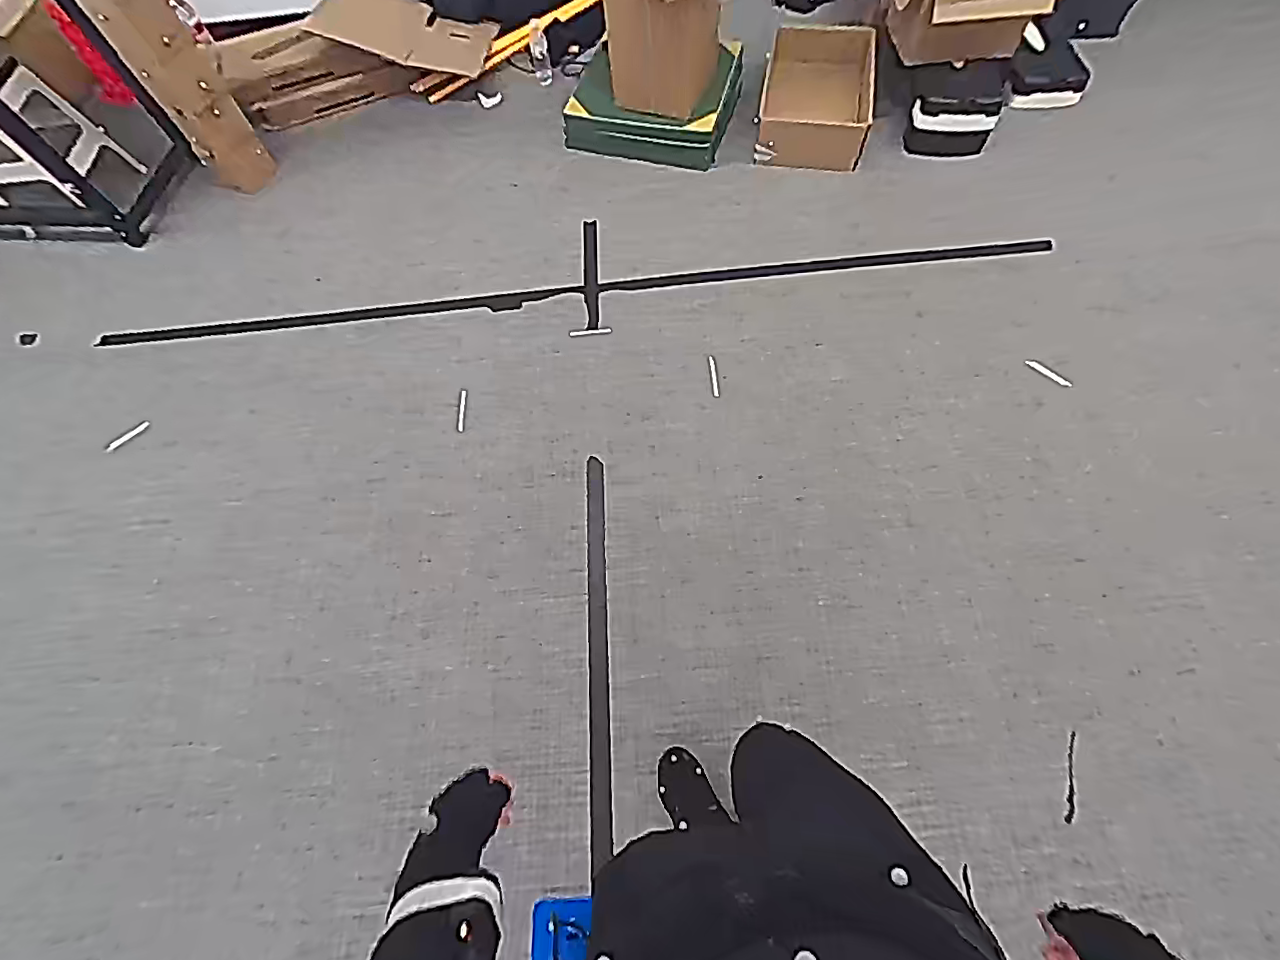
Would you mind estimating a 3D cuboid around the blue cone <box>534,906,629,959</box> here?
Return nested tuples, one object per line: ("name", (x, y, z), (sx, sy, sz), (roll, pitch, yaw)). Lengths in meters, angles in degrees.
("blue cone", (-0.127, 0.909, 0.932), (0.193, 0.380, 0.192), (-6, 65, 2))
